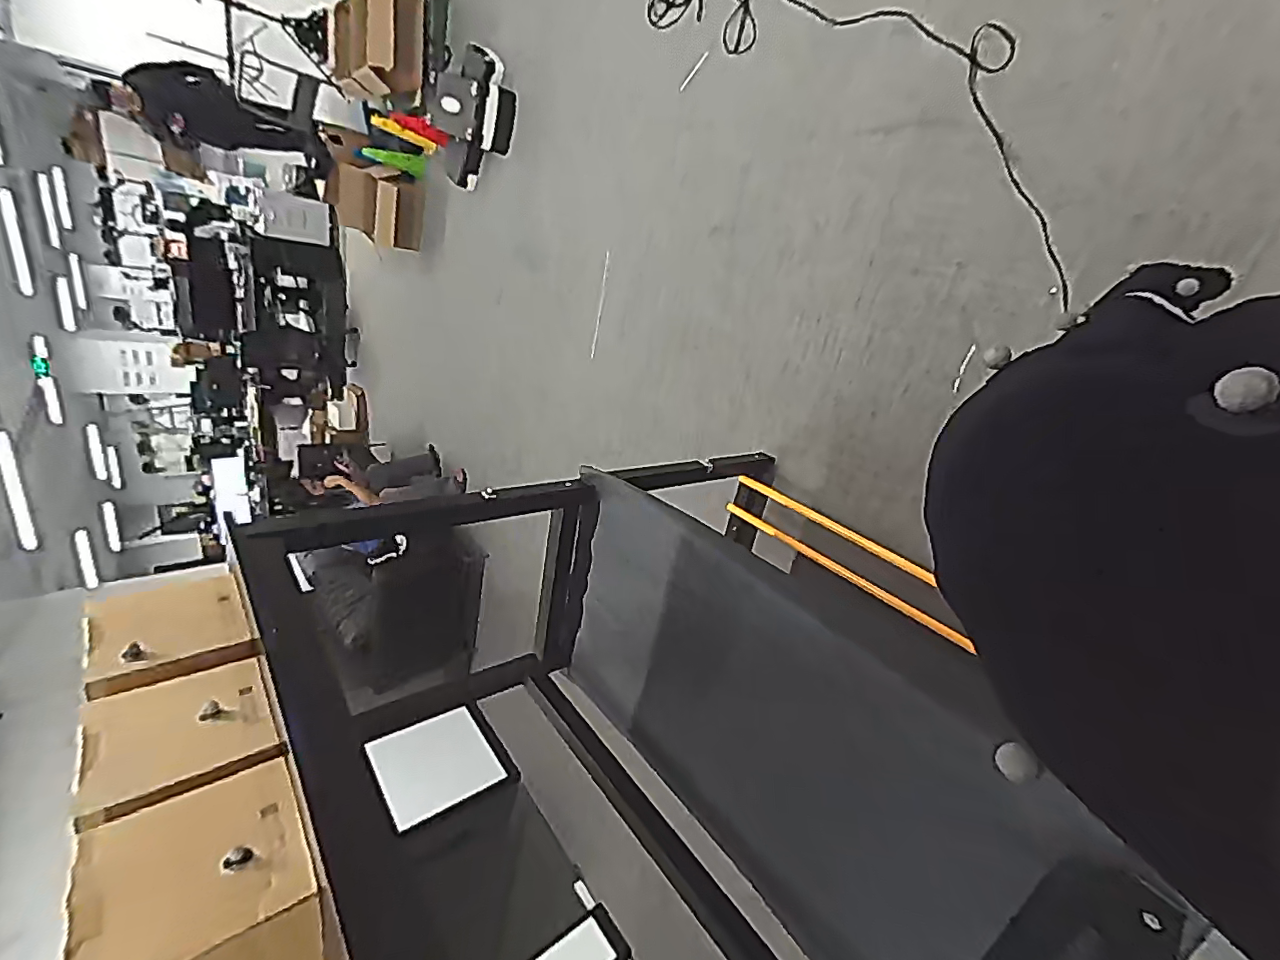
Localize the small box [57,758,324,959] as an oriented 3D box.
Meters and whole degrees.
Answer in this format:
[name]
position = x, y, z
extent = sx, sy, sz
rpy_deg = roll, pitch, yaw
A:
[small box]
position = -0.410, 0.413, 0.513
extent = 0.168, 0.176, 0.179
rpy_deg = 32, 119, 42
